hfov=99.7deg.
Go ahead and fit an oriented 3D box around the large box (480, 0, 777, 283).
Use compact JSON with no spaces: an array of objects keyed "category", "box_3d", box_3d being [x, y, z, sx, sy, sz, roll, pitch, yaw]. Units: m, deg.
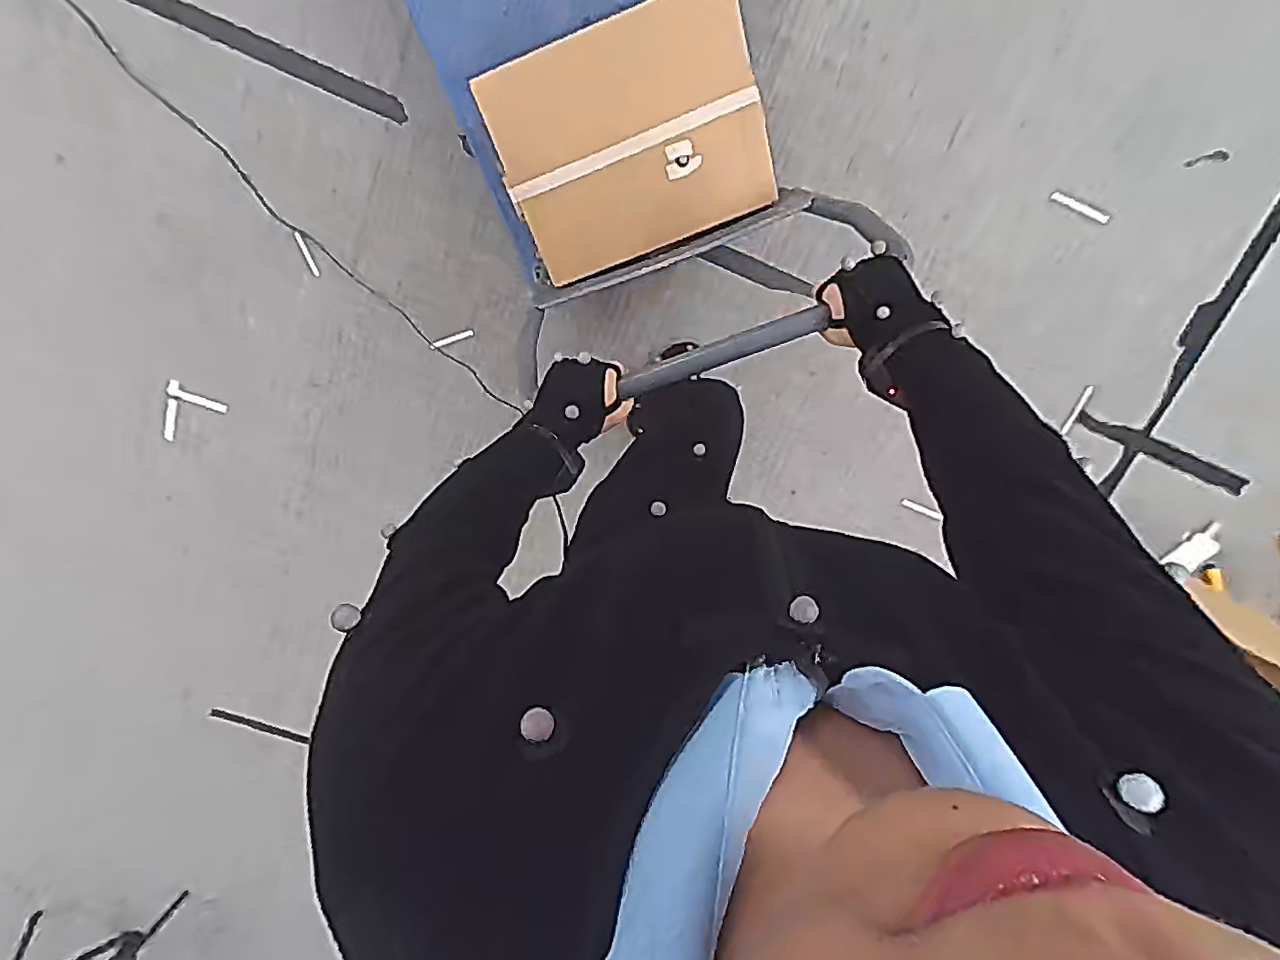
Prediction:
[{"category":"large box","box_3d":[-0.018,-0.605,0.989,0.408,0.320,0.320,-20,119,6]}]
